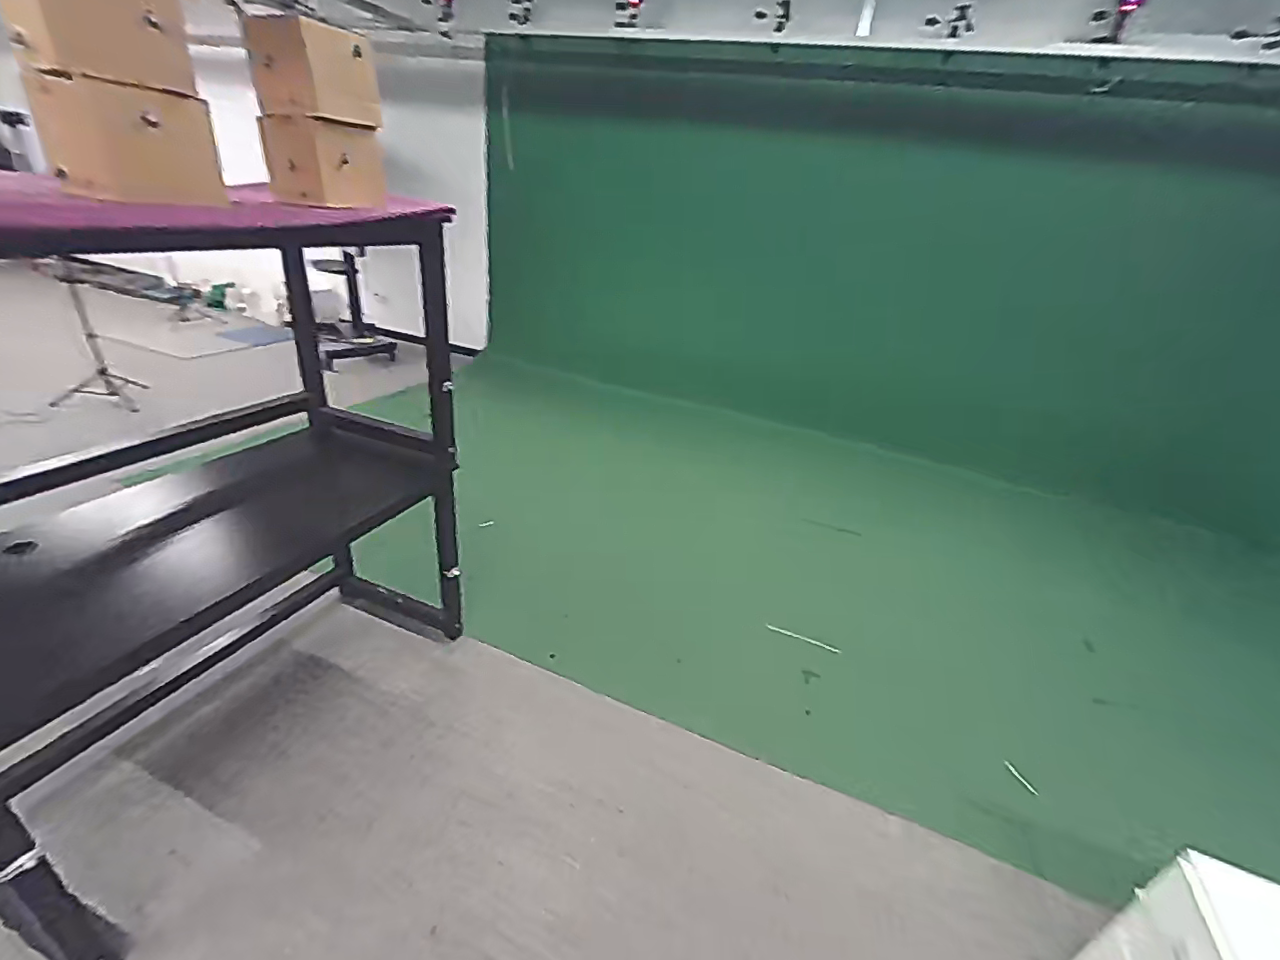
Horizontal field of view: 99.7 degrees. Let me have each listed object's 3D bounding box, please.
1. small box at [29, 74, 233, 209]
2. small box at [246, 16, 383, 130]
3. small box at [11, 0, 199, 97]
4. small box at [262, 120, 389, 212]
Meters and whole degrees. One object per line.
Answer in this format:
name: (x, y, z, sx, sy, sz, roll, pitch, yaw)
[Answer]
small box: (-0.835, -0.555, 0.905, 0.168, 0.176, 0.179, 17, 28, 18)
small box: (-0.678, -0.849, 1.148, 0.168, 0.176, 0.179, 14, 29, 18)
small box: (-0.818, -0.697, 0.827, 0.168, 0.176, 0.179, 21, 31, 27)
small box: (-0.701, -0.707, 1.227, 0.168, 0.176, 0.179, 15, 30, 18)
